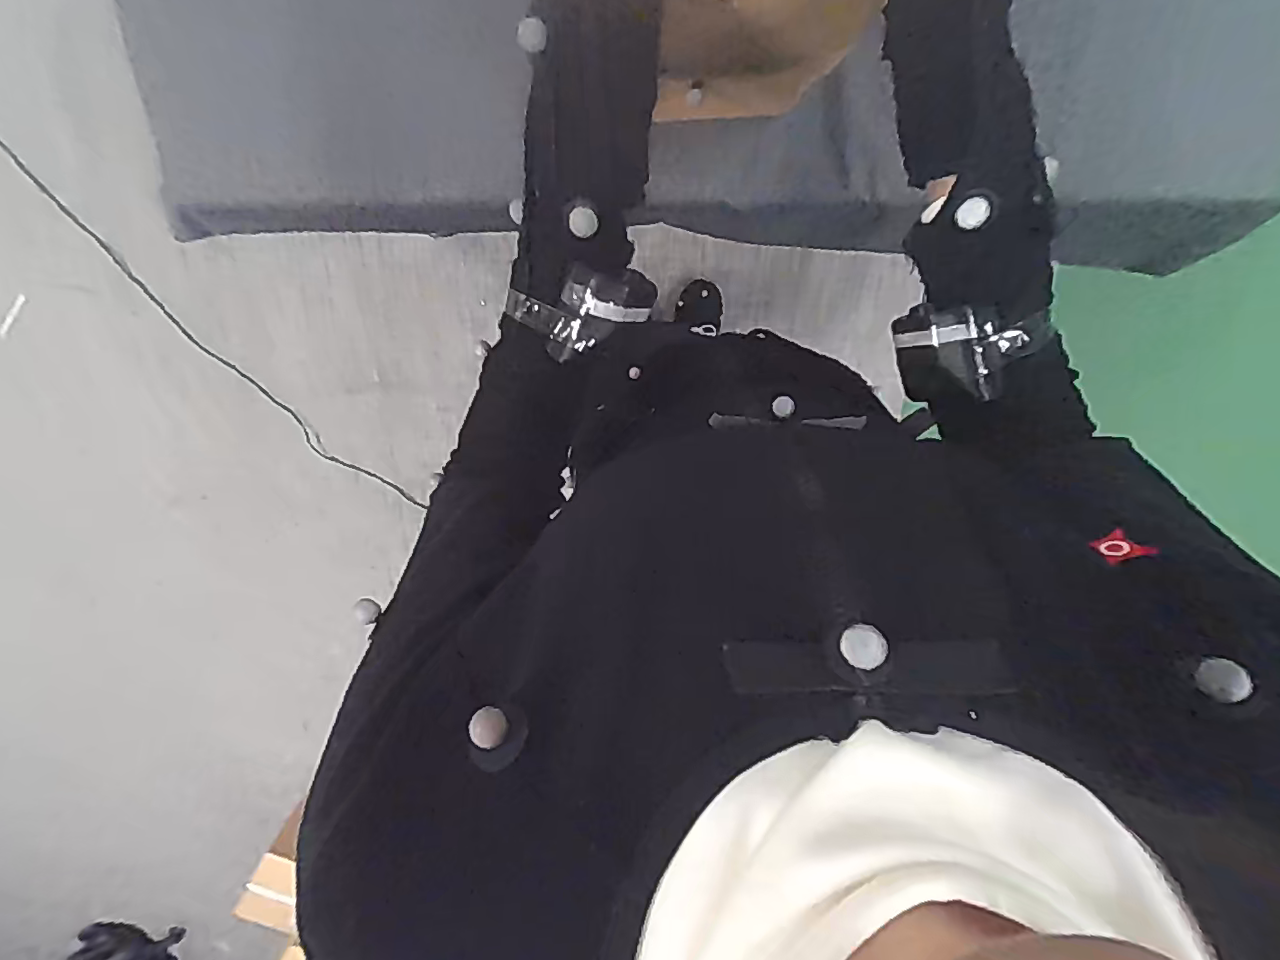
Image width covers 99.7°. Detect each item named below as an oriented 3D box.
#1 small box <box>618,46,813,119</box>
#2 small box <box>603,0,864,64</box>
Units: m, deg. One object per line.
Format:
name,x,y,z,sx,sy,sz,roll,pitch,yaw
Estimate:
small box,0.063,-0.432,0.458,0.179,0.176,0.168,-6,108,3
small box,0.057,-0.365,0.305,0.168,0.176,0.179,-2,109,1
